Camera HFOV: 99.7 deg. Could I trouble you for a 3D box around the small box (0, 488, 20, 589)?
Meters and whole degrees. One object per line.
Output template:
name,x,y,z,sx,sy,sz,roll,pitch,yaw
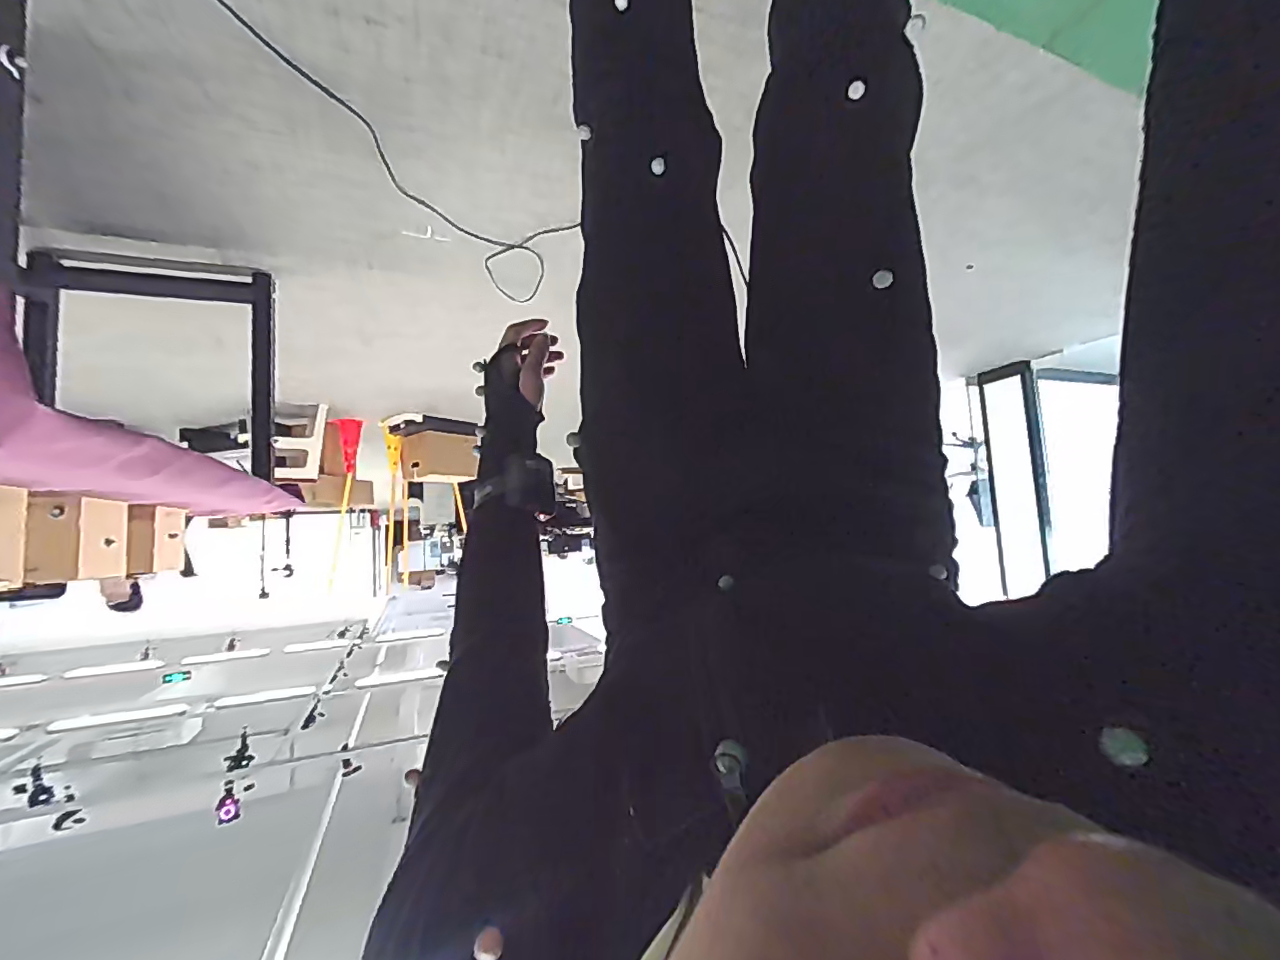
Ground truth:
small box,-1.063,0.085,0.779,0.179,0.176,0.168,-1,174,-21

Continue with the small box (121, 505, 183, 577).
small box,-1.280,0.153,1.347,0.179,0.176,0.168,-2,174,-20

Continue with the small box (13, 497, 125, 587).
small box,-1.175,0.120,1.077,0.168,0.176,0.179,-1,175,-20
